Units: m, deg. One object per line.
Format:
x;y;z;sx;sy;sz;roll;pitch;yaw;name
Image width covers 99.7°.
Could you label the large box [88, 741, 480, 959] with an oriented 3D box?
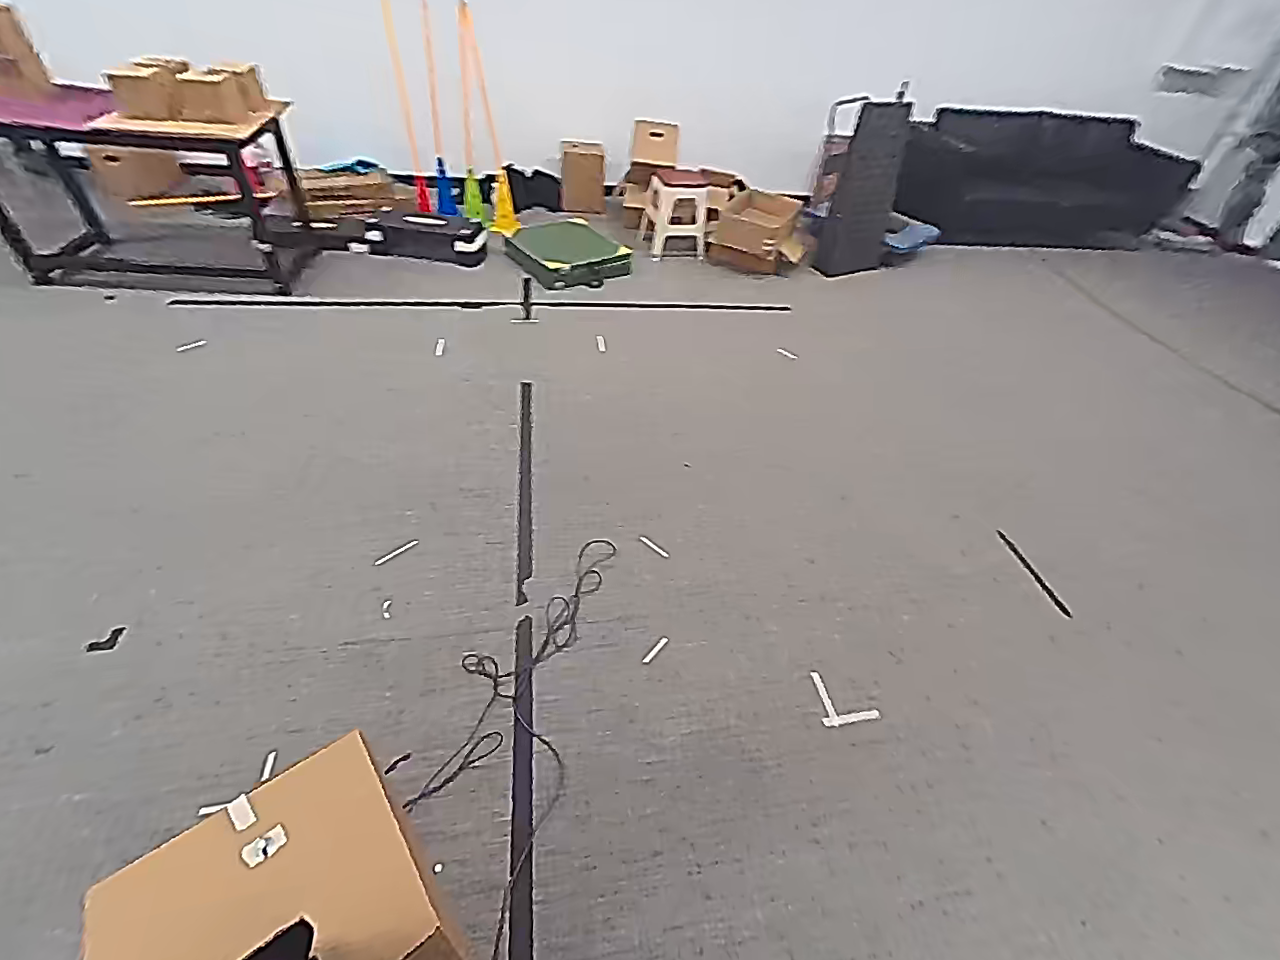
-0.428;0.653;0.728;0.320;0.408;0.320;-27;40;-30;large box
